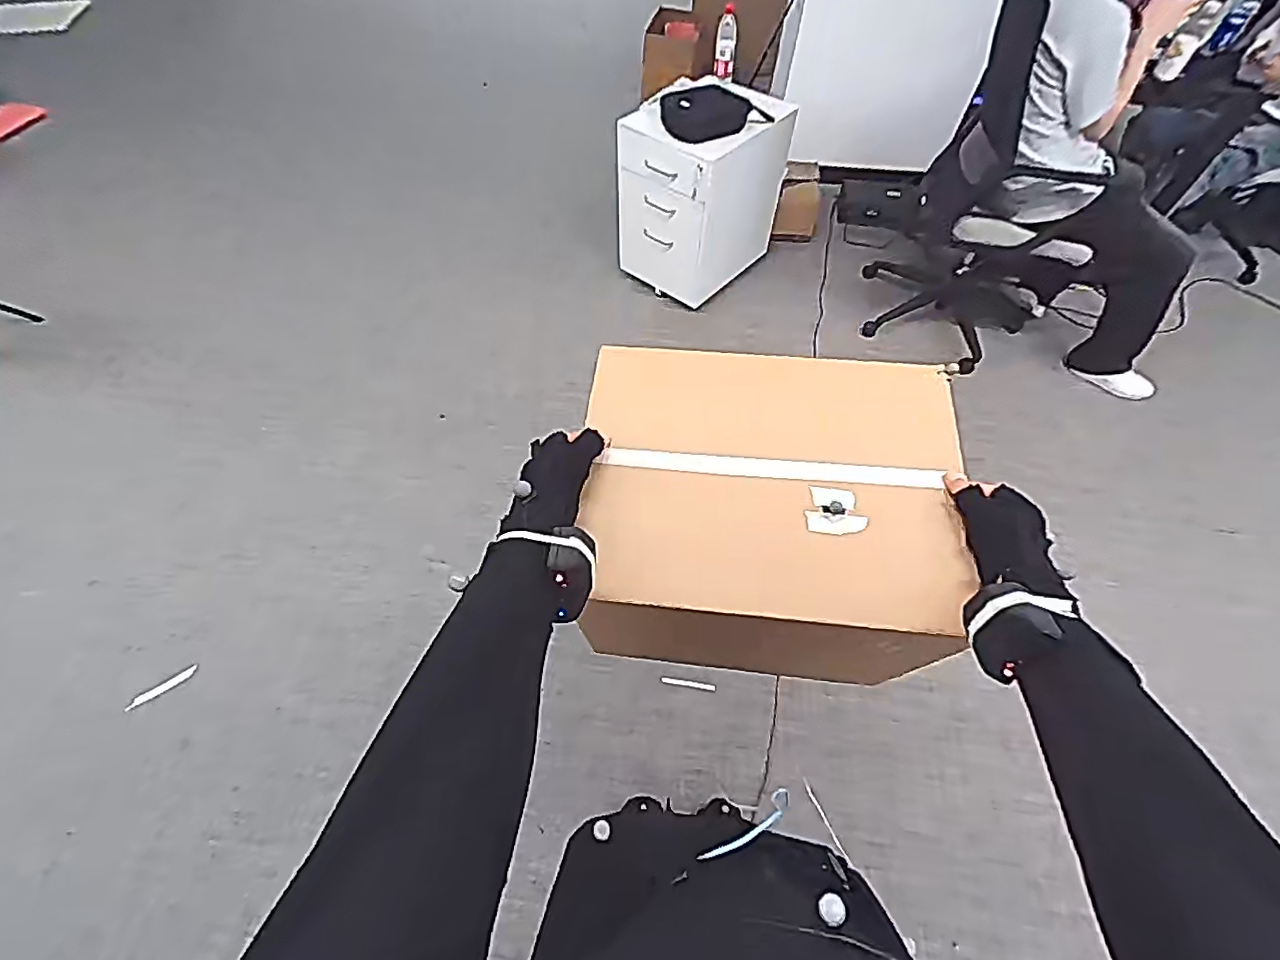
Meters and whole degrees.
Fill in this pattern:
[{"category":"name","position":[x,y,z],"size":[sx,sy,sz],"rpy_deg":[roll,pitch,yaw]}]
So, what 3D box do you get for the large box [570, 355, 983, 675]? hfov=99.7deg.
[{"category":"large box","position":[0.146,0.060,0.719],"size":[0.408,0.320,0.320],"rpy_deg":[5,64,6]}]
